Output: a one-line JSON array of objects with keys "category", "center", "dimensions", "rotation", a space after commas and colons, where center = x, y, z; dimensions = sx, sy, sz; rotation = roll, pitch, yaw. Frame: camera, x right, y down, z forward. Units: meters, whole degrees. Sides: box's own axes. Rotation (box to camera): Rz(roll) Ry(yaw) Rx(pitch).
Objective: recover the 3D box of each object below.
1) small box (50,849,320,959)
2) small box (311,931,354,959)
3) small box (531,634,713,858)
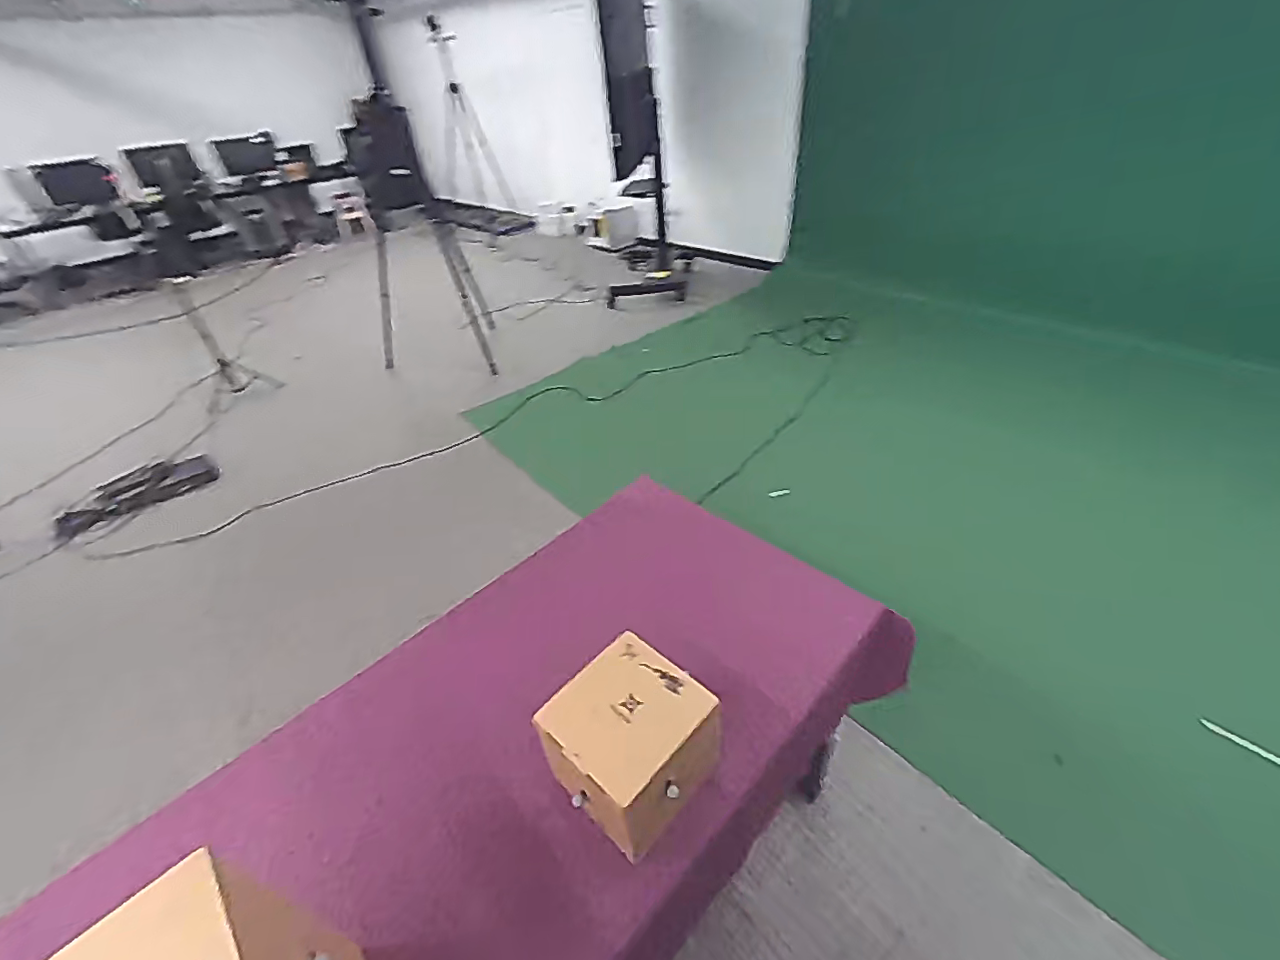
[{"category": "small box", "center": [-0.348, 0.433, 0.392], "dimensions": [0.168, 0.176, 0.179], "rotation": [28, 48, 36]}, {"category": "small box", "center": [-0.334, 0.563, 0.493], "dimensions": [0.179, 0.176, 0.168], "rotation": [28, 48, 37]}, {"category": "small box", "center": [-0.013, 0.353, 0.724], "dimensions": [0.168, 0.176, 0.179], "rotation": [27, 49, 36]}]
